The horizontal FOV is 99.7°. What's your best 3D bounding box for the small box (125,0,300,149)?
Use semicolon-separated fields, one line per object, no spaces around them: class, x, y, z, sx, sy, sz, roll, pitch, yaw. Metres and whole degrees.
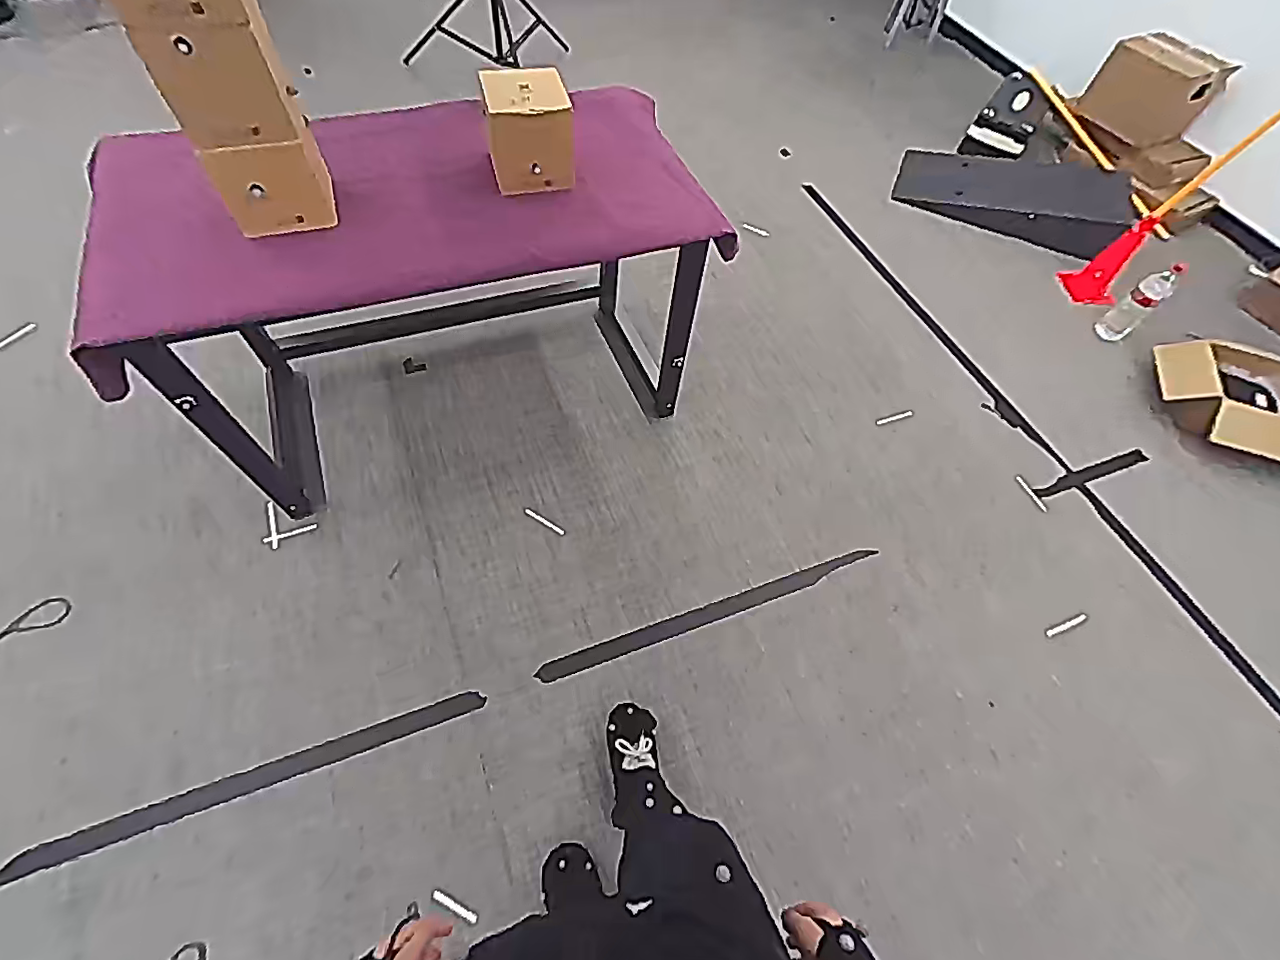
small box;-0.691;-0.683;0.895;0.168;0.176;0.179;-17;61;-14

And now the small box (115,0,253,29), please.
small box;-0.673;-0.767;0.754;0.168;0.176;0.179;-16;62;-14

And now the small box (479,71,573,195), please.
small box;-0.242;-0.746;1.167;0.168;0.176;0.179;-12;61;-12

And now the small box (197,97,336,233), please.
small box;-0.703;-0.594;1.032;0.168;0.176;0.179;-16;62;-14
